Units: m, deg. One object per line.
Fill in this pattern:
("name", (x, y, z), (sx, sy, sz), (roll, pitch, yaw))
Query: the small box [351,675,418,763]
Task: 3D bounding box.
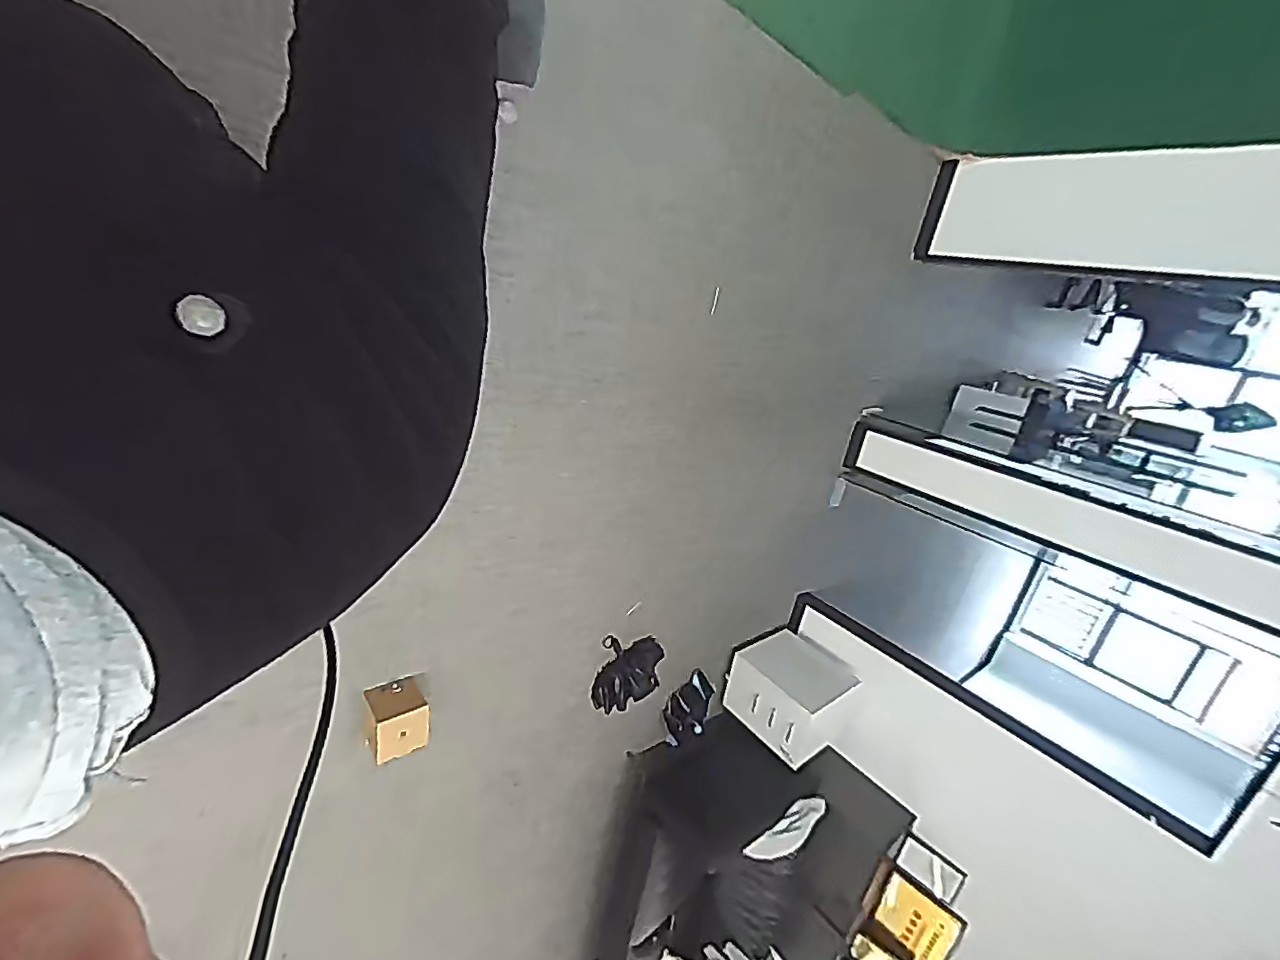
("small box", (-0.862, 0.799, 1.822), (0.168, 0.176, 0.179), (-10, 117, -41))
